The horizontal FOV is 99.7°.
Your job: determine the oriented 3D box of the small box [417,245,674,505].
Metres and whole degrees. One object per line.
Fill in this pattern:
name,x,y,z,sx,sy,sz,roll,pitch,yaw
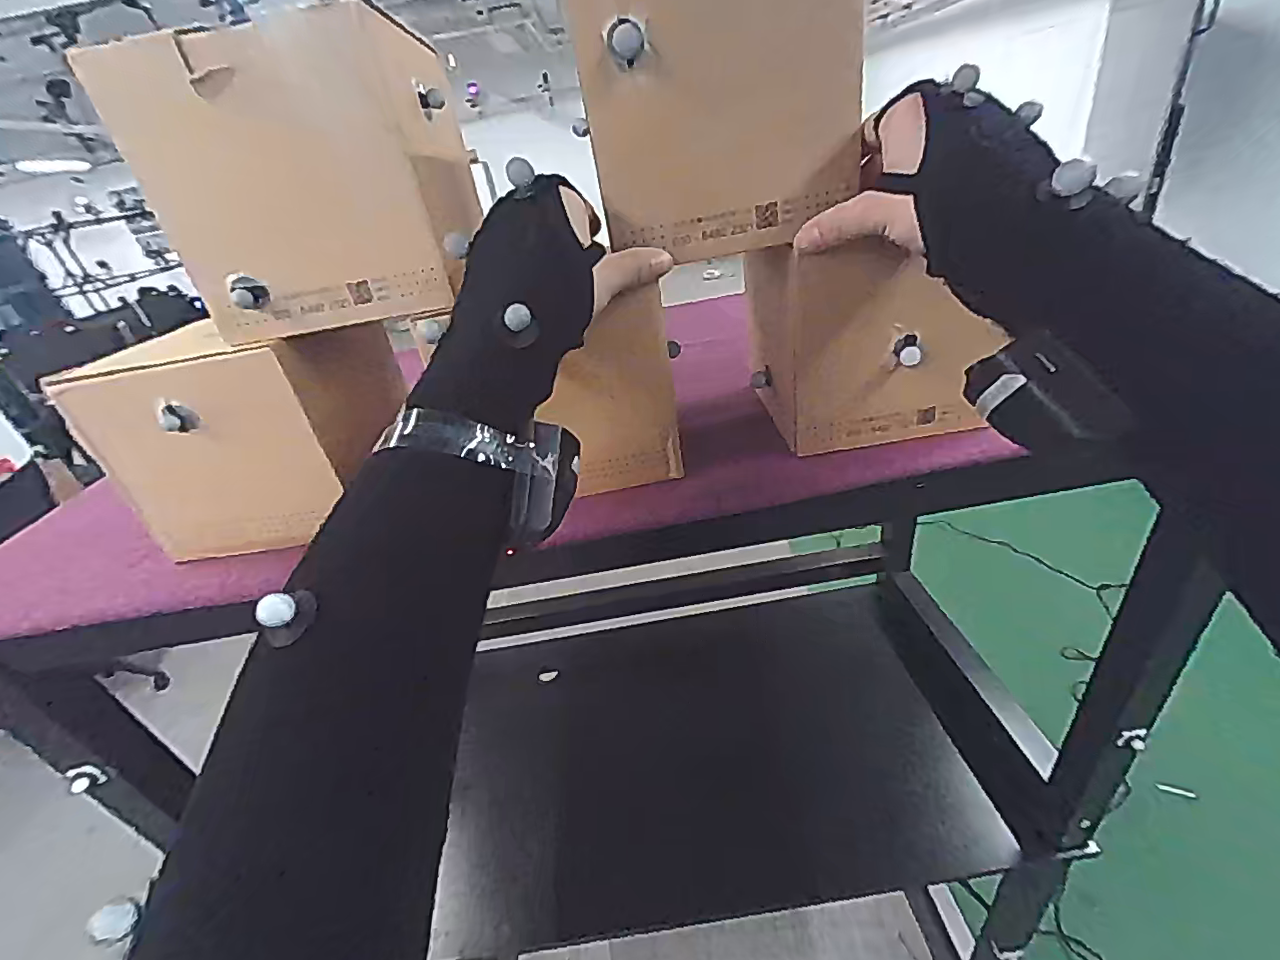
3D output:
small box,-0.068,-0.099,0.488,0.179,0.176,0.168,-11,30,-1

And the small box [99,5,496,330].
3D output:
small box,-0.224,-0.223,0.419,0.168,0.176,0.179,-10,29,1

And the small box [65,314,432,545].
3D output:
small box,-0.321,-0.055,0.492,0.179,0.176,0.168,-7,30,4
